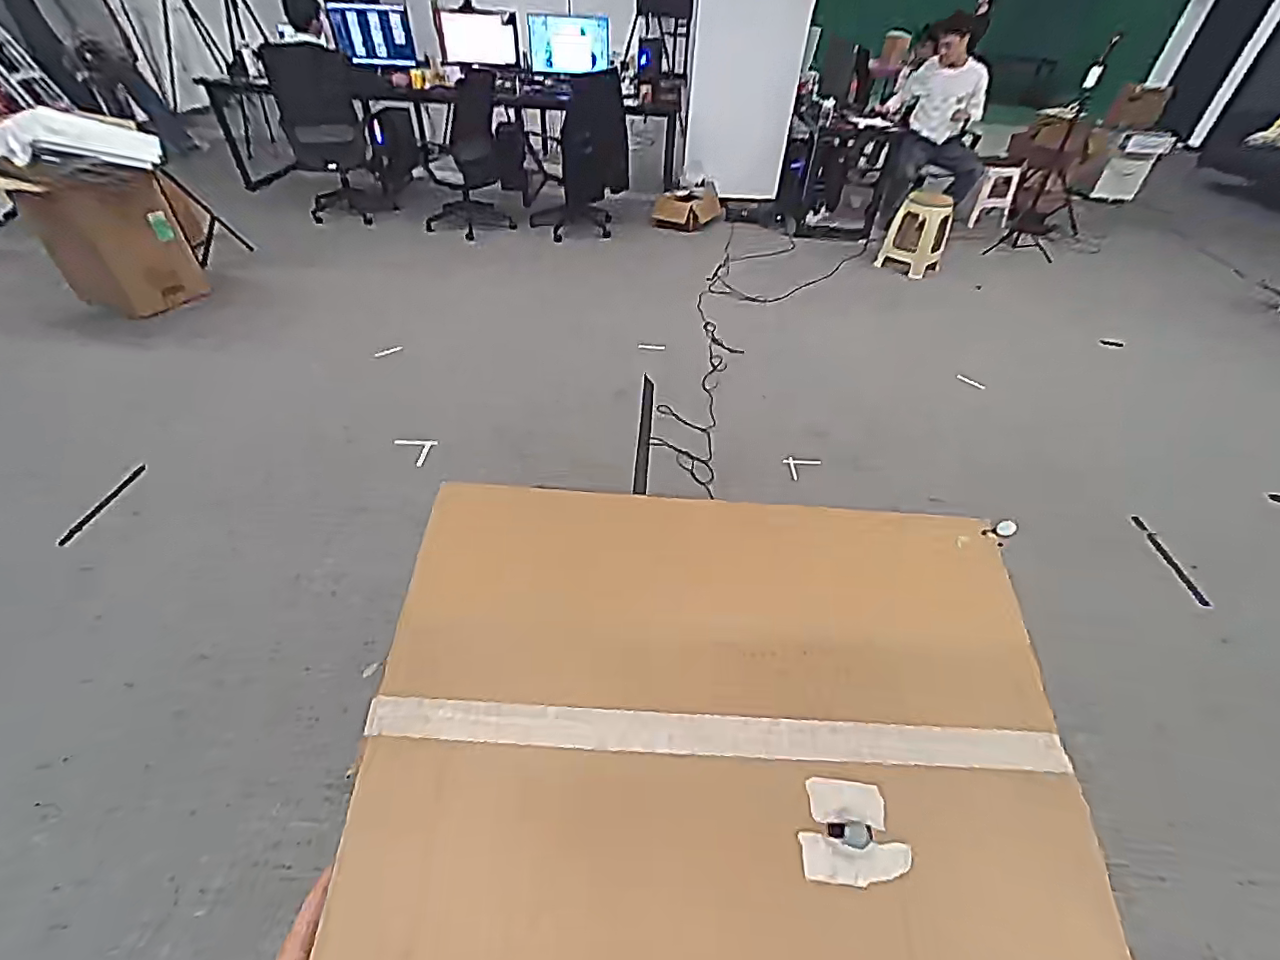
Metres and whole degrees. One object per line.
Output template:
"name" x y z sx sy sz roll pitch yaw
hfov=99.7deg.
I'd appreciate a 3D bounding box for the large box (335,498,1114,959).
"large box" 0.041 0.230 0.452 0.408 0.320 0.320 4 60 -2
